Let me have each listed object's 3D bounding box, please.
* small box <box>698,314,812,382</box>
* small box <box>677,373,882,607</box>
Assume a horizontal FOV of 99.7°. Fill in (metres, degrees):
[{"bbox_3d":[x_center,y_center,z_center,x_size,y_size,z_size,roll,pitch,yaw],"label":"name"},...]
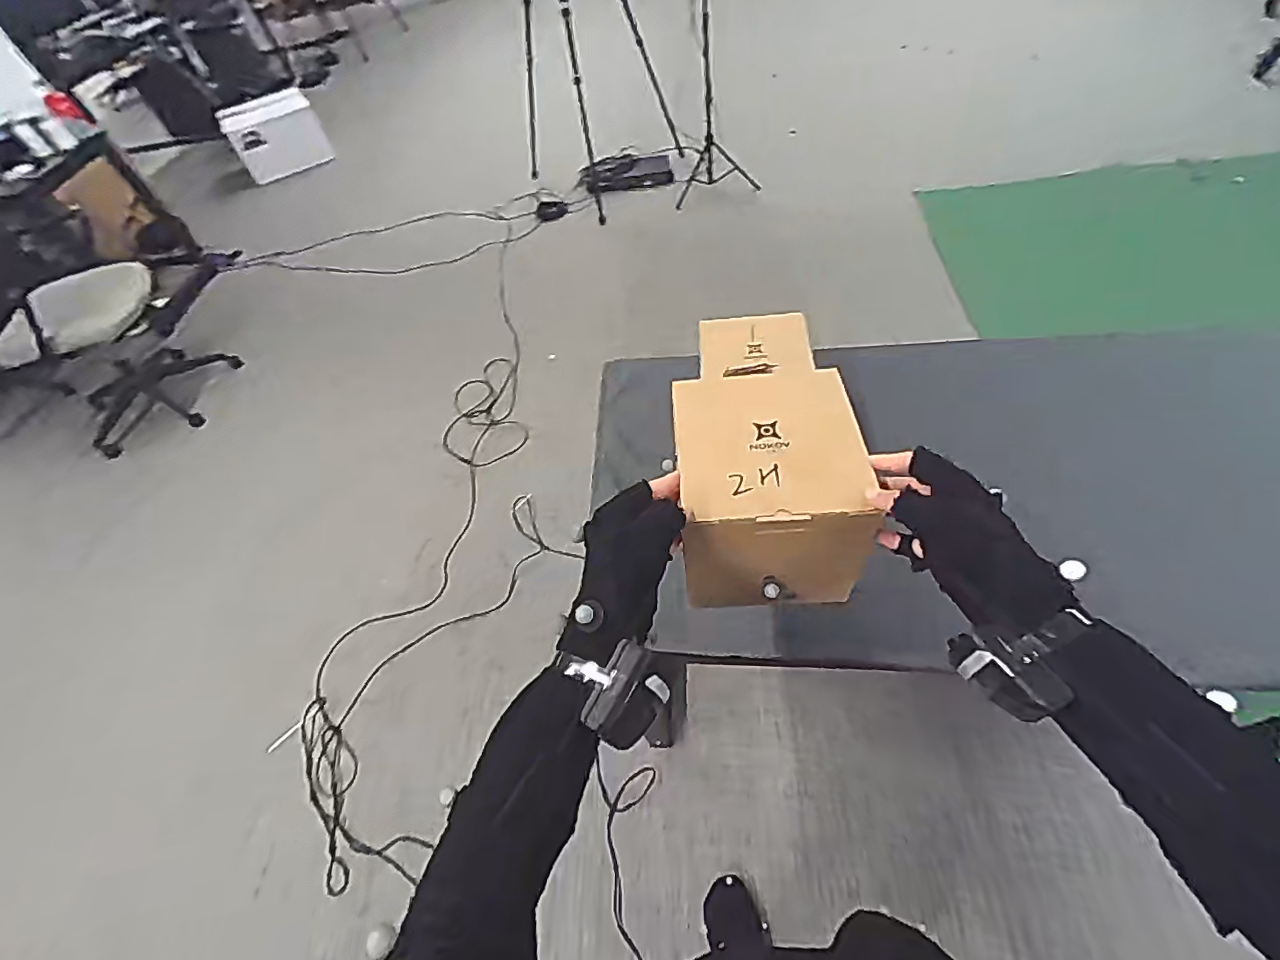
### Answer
[{"bbox_3d":[0.181,-0.141,0.879,0.168,0.176,0.179,-2,53,8],"label":"small box"},{"bbox_3d":[0.124,0.014,0.558,0.168,0.176,0.179,-4,52,5],"label":"small box"}]
